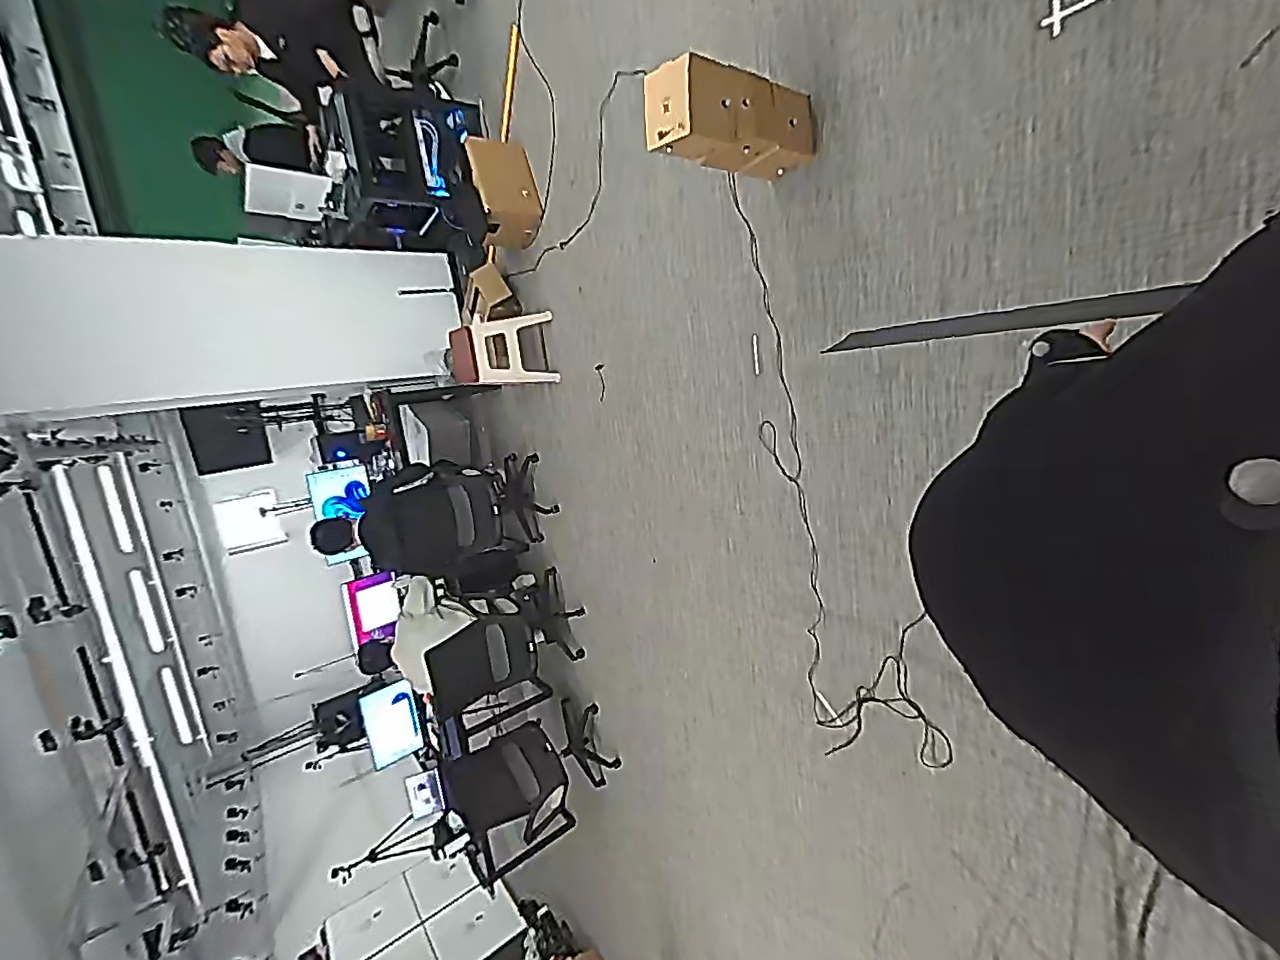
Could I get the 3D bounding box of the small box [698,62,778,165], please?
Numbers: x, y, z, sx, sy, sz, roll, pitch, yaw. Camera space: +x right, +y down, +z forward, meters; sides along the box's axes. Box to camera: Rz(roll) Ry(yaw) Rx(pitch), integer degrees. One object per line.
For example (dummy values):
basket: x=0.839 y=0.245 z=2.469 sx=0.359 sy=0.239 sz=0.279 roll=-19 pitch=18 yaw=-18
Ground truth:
small box: x=0.262 y=-0.998 z=1.495 sx=0.168 sy=0.176 sz=0.179 roll=-4 pitch=97 yaw=53

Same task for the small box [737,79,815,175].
small box: x=0.391 y=-1.026 z=1.588 sx=0.168 sy=0.176 sz=0.179 roll=1 pitch=104 yaw=54

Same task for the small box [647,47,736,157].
small box: x=0.134 y=-0.964 z=1.397 sx=0.168 sy=0.176 sz=0.179 roll=17 pitch=115 yaw=49
